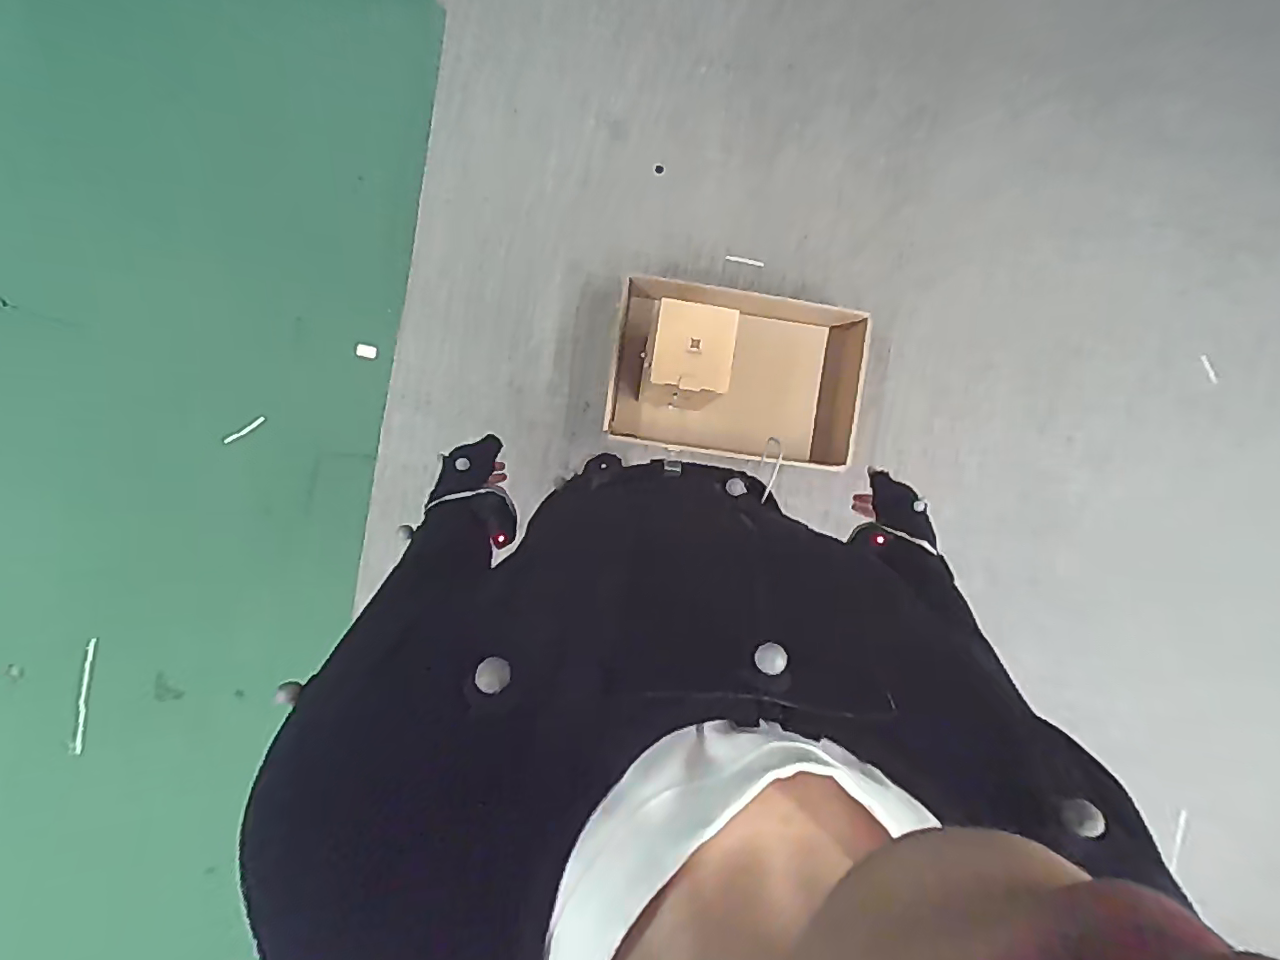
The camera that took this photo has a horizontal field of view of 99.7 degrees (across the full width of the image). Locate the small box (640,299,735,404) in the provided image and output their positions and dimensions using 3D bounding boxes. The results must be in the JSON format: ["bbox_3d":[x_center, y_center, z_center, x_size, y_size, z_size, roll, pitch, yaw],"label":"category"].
[{"bbox_3d":[0.096,-0.271,1.178,0.168,0.176,0.179,8,92,-5],"label":"small box"}]

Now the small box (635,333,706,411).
[{"bbox_3d":[0.082,-0.275,1.340,0.168,0.176,0.179,9,91,-5],"label":"small box"}]
